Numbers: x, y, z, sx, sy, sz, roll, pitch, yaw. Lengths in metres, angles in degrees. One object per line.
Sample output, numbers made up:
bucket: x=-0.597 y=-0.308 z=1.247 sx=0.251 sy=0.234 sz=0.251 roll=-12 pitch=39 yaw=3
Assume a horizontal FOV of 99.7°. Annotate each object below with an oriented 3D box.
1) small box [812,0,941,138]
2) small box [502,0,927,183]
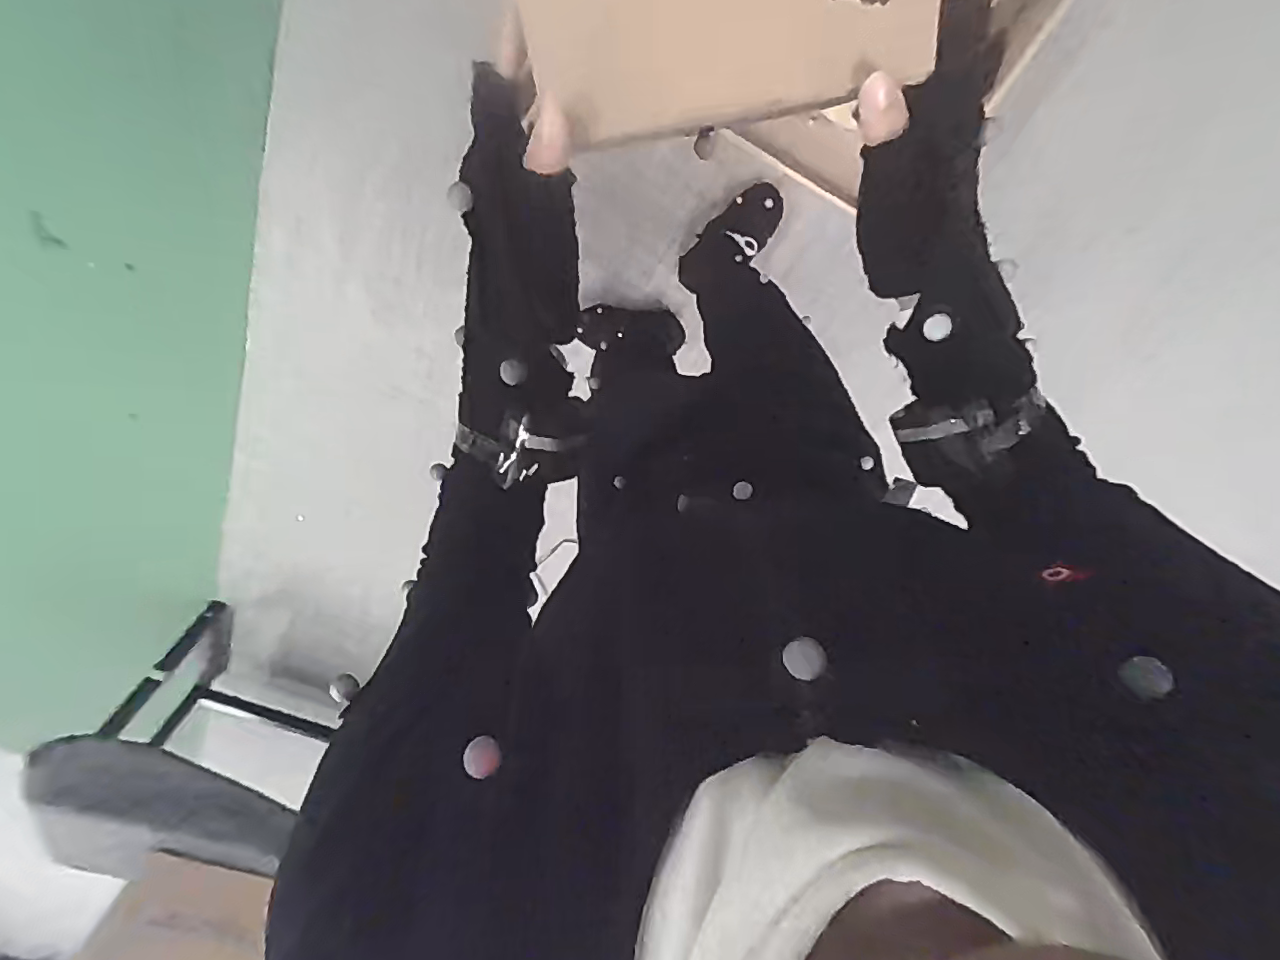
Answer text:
small box: x=0.266 y=-0.614 z=0.750 sx=0.168 sy=0.176 sz=0.179 roll=26 pitch=124 yaw=-14
small box: x=0.023 y=-0.267 z=0.276 sx=0.179 sy=0.176 sz=0.168 roll=-12 pitch=121 yaw=6
